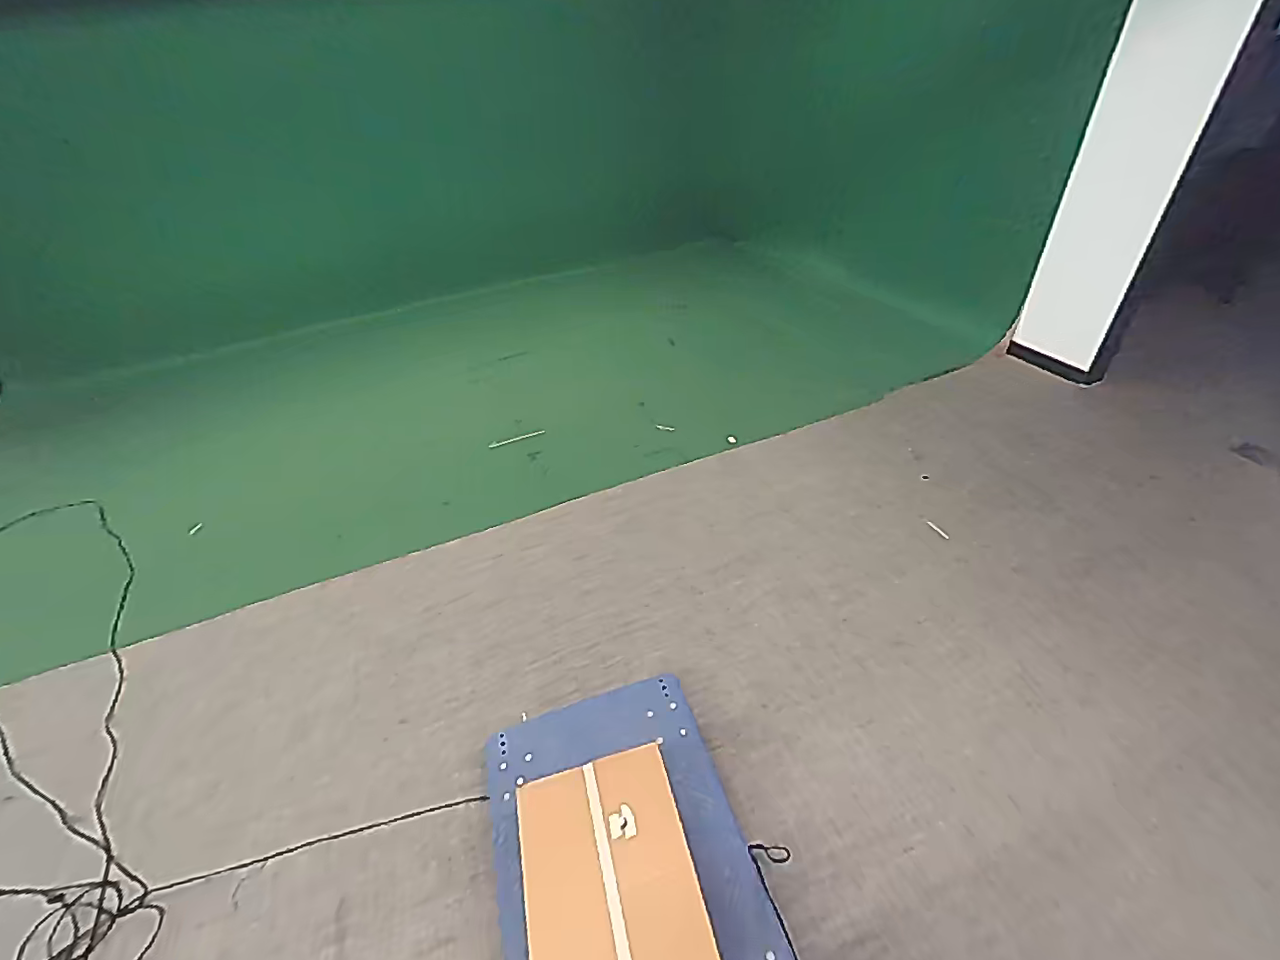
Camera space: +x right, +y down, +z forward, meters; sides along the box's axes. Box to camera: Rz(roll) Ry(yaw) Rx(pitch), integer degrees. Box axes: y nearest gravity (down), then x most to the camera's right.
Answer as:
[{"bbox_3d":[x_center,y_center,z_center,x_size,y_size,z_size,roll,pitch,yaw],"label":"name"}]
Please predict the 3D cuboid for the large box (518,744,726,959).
[{"bbox_3d":[-0.038,0.837,1.086,0.320,0.320,0.408,-13,39,-8],"label":"large box"}]
